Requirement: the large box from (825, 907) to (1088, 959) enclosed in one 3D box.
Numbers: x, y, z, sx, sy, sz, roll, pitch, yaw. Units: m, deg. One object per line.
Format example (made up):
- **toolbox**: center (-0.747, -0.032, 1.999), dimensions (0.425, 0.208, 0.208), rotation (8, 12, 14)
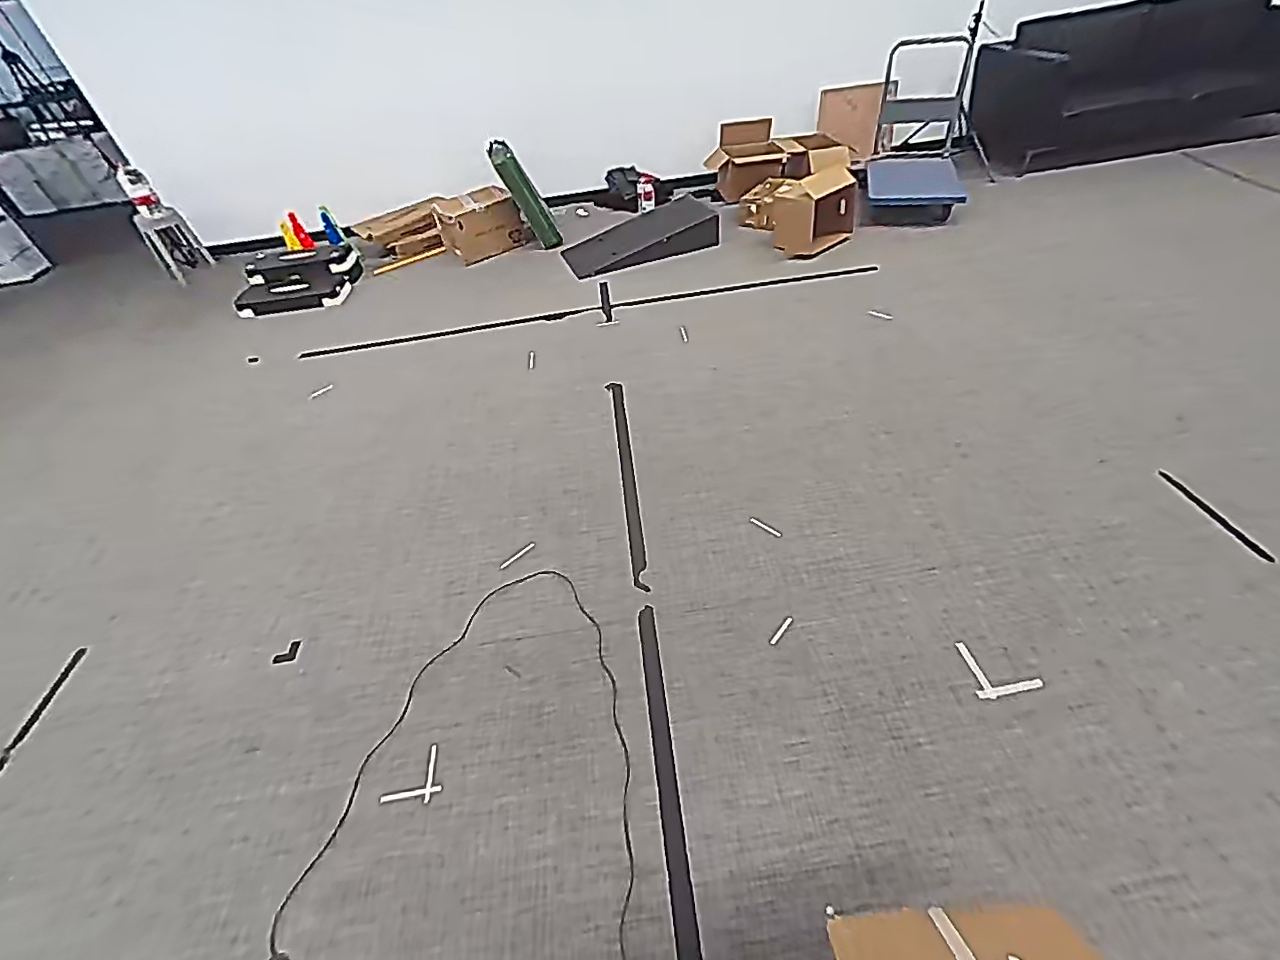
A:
- **large box**: center (0.430, 0.765, 0.576), dimensions (0.320, 0.408, 0.320), rotation (-7, 83, 4)
